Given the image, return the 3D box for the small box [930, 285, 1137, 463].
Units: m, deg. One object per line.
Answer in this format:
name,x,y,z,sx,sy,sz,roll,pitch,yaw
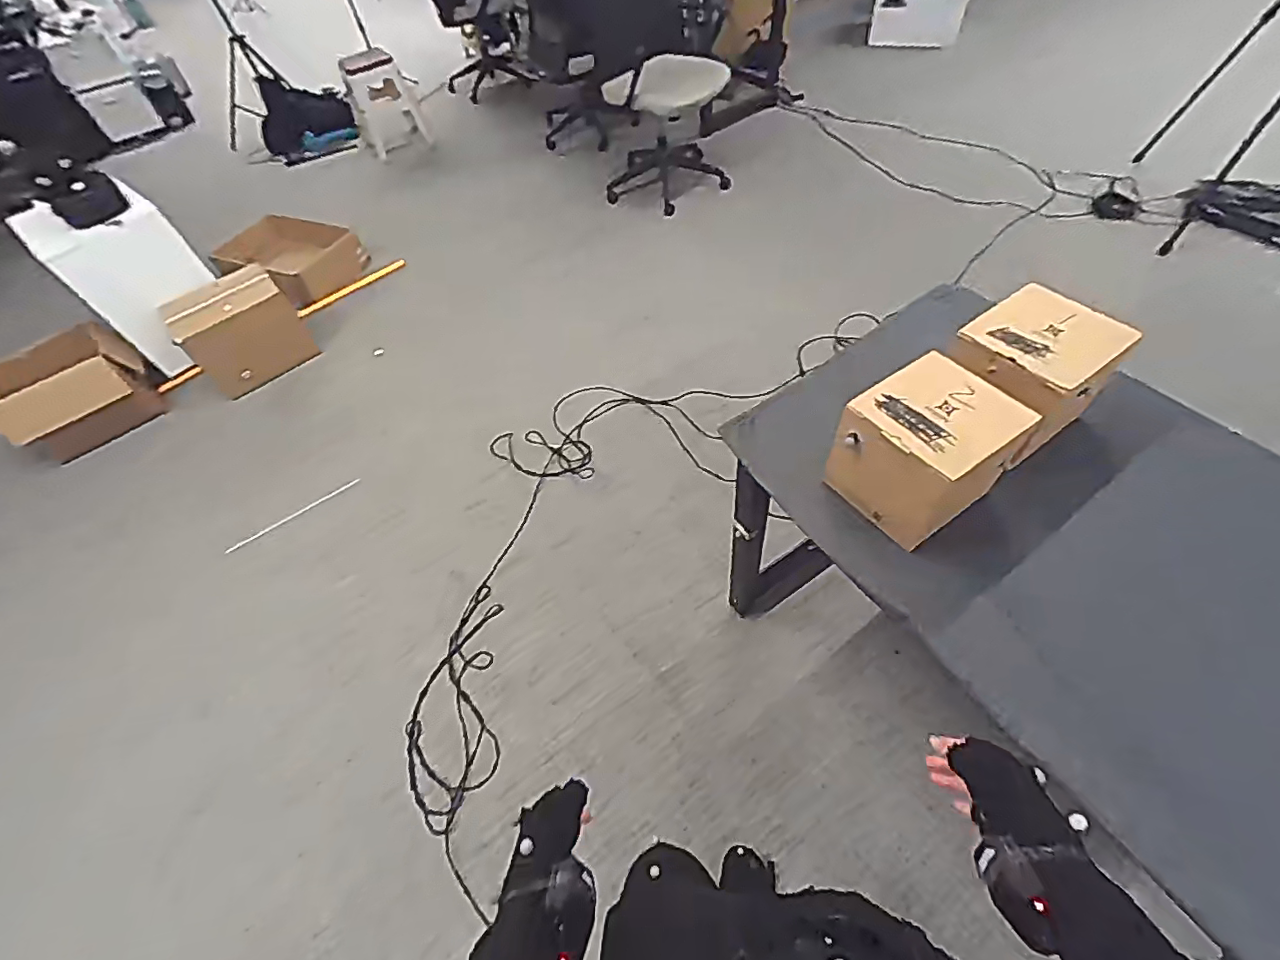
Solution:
small box,0.579,-0.158,0.827,0.179,0.176,0.168,-32,57,-16
